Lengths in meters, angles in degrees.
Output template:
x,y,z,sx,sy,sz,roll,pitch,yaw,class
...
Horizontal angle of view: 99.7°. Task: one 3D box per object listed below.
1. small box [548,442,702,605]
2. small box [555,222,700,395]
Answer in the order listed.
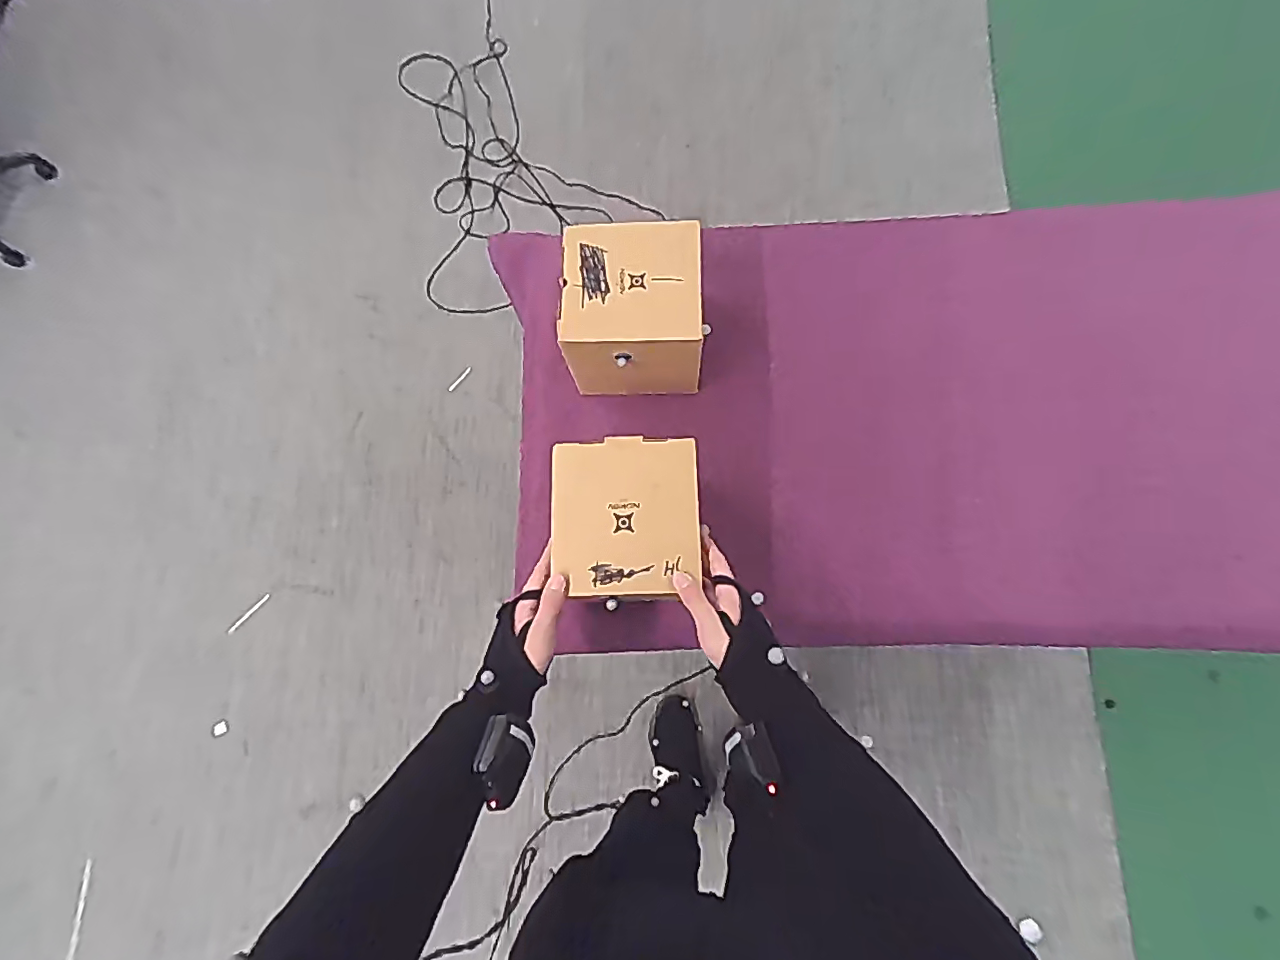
x,y,z,sx,sy,sz,roll,pitch,yaw,class
-0.012,0.062,0.666,0.168,0.176,0.179,-2,76,4,small box
-0.008,-0.222,0.734,0.179,0.176,0.168,0,77,4,small box
